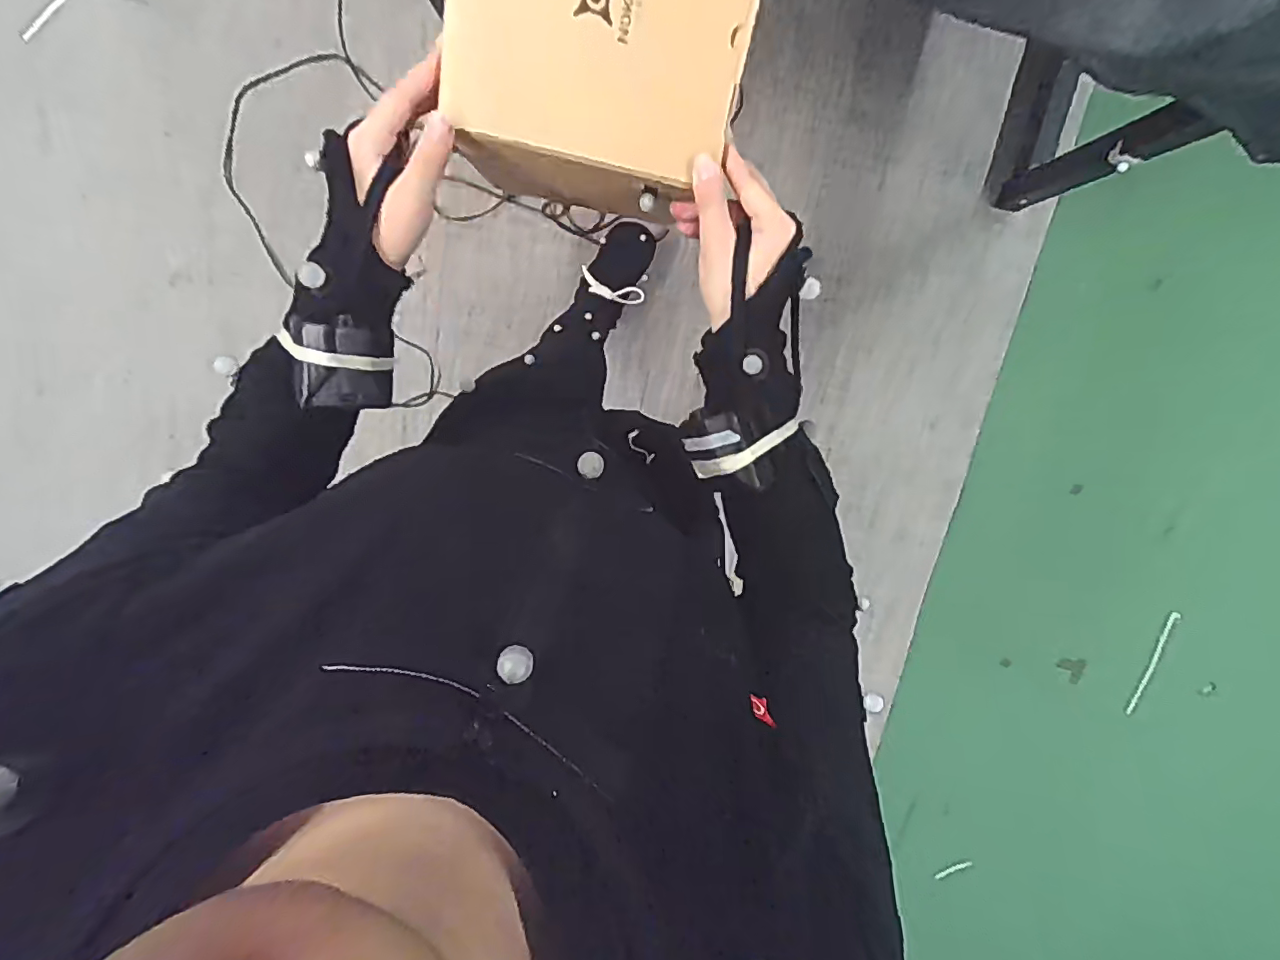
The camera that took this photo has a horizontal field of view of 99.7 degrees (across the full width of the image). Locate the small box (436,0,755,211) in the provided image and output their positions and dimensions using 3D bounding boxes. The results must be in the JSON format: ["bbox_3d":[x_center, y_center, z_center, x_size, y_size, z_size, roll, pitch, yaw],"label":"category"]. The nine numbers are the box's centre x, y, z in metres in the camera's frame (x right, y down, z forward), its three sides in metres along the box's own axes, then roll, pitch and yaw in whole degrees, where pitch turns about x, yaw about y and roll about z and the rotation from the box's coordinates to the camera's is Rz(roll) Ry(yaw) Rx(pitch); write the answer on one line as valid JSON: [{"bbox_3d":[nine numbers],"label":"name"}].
[{"bbox_3d":[-0.028,-0.305,0.382,0.179,0.176,0.168,8,106,-10],"label":"small box"}]
